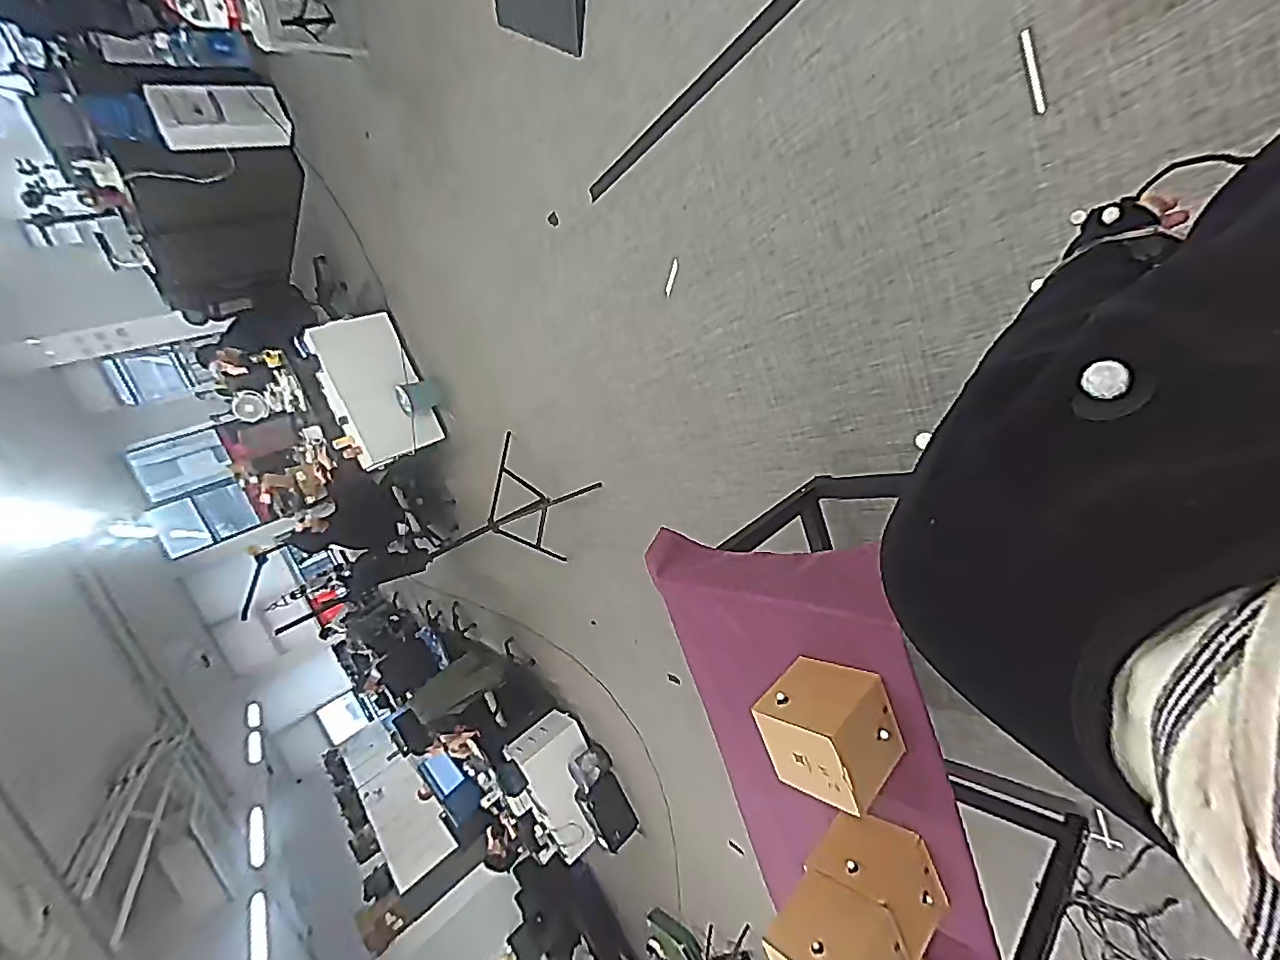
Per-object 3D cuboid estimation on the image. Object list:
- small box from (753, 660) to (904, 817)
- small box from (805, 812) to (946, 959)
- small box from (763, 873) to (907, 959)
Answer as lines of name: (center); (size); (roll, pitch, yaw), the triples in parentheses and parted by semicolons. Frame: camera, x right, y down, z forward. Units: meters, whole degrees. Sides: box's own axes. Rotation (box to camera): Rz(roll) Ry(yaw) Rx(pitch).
small box: (0.344, 0.455, 0.986); (0.179, 0.176, 0.168); (-7, 109, 54)
small box: (0.471, 0.804, 1.079); (0.179, 0.176, 0.168); (-14, 103, 54)
small box: (0.361, 0.865, 0.972); (0.179, 0.176, 0.168); (-12, 104, 54)
